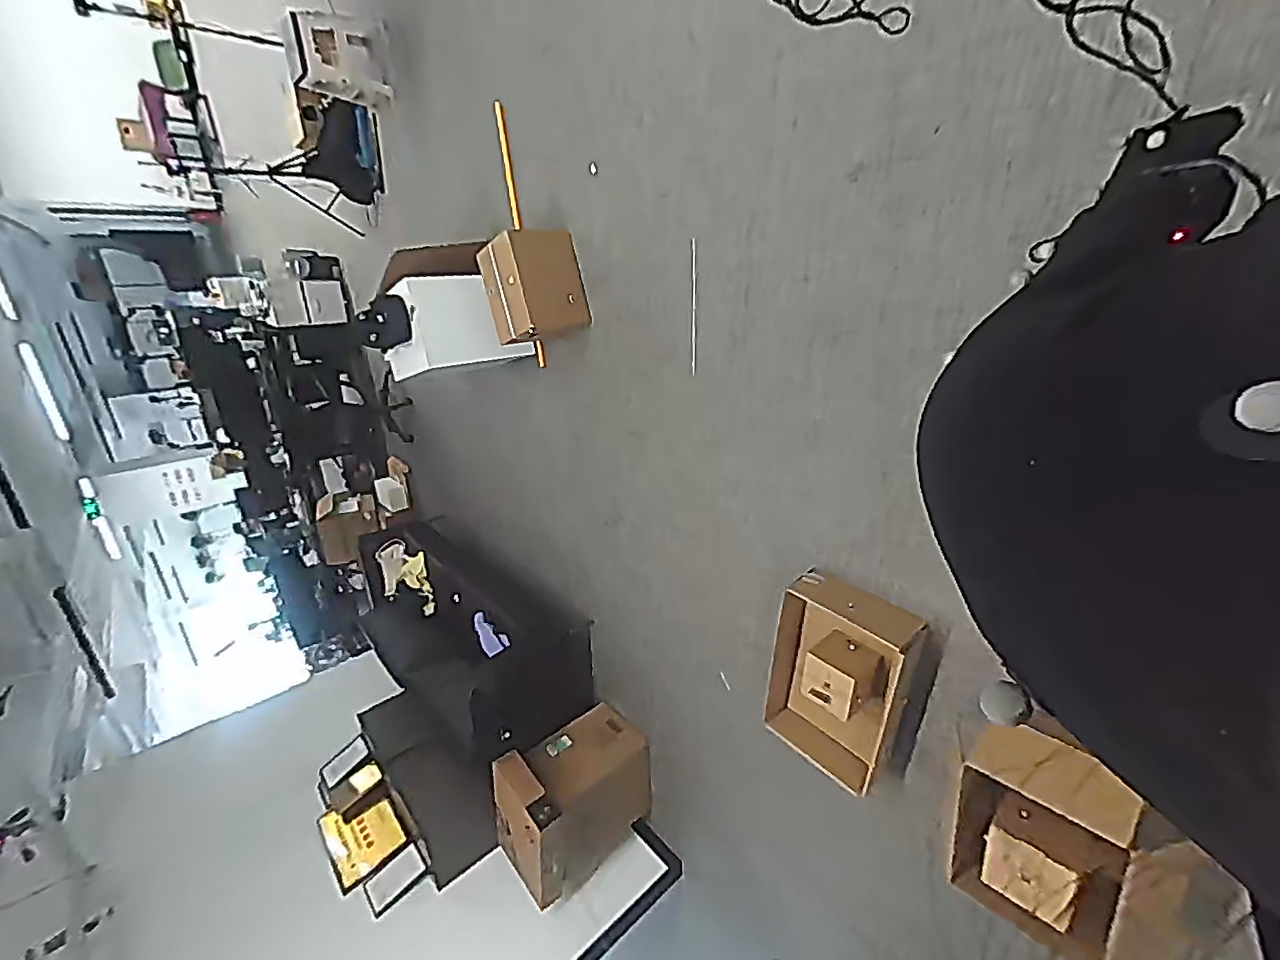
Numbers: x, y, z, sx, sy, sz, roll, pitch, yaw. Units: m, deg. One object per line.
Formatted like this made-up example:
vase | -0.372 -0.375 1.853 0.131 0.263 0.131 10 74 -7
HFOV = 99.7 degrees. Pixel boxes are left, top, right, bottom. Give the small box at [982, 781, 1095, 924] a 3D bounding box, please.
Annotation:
small box | 0.926 0.850 1.256 0.168 0.176 0.179 16 116 48

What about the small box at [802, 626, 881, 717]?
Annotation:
small box | 0.641 0.602 1.718 0.168 0.176 0.179 25 124 44
